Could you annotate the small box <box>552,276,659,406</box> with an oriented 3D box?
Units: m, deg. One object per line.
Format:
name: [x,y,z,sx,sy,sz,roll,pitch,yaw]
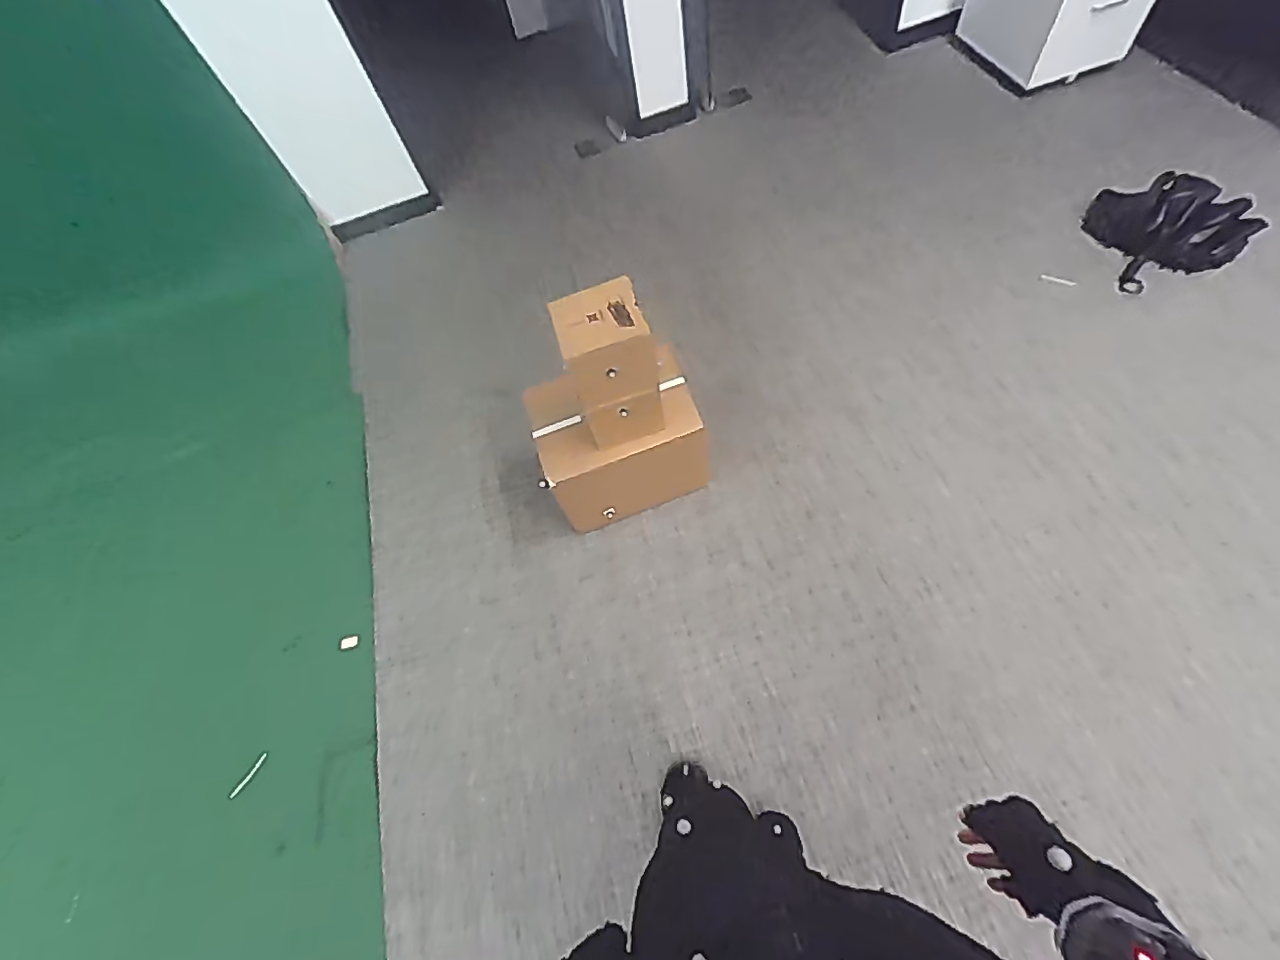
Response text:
small box: [-0.065,-0.285,1.131,0.179,0.176,0.168,-20,62,-1]

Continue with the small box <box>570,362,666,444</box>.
small box: [-0.047,-0.207,1.275,0.179,0.176,0.168,-18,62,-1]
